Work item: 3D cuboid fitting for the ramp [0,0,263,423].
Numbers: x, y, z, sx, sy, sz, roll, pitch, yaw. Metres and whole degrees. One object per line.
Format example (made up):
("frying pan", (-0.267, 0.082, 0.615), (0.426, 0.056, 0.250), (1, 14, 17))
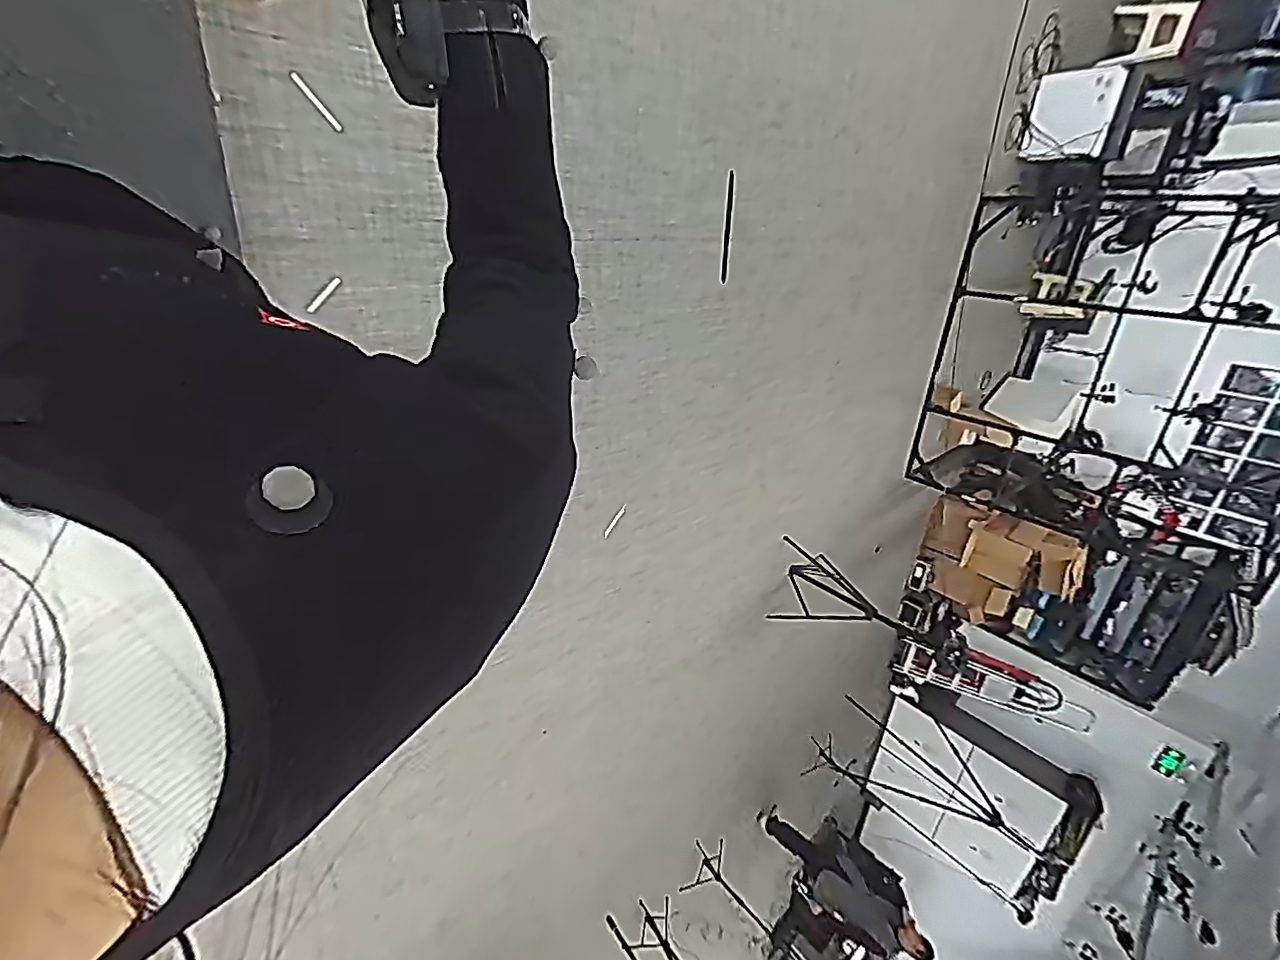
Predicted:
("ramp", (-0.984, -0.564, 0.881), (0.509, 0.206, 0.991), (-19, 124, -39))
